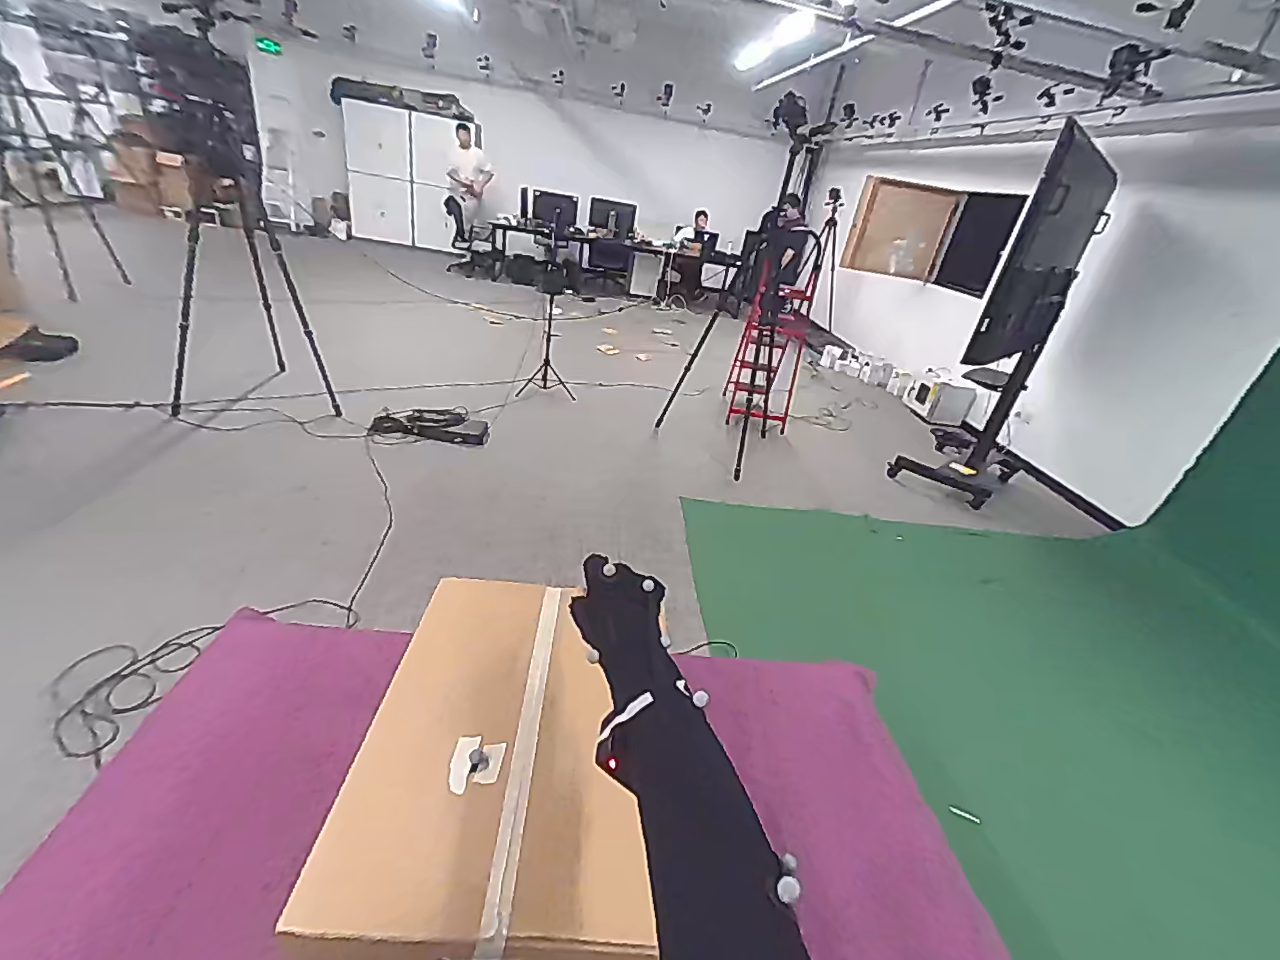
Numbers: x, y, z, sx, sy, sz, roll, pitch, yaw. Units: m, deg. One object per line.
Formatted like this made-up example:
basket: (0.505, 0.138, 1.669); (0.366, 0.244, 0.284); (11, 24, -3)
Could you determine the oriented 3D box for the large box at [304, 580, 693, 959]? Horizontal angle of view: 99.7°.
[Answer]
large box: (-0.139, 0.385, 0.664); (0.320, 0.320, 0.408); (8, 29, -5)
